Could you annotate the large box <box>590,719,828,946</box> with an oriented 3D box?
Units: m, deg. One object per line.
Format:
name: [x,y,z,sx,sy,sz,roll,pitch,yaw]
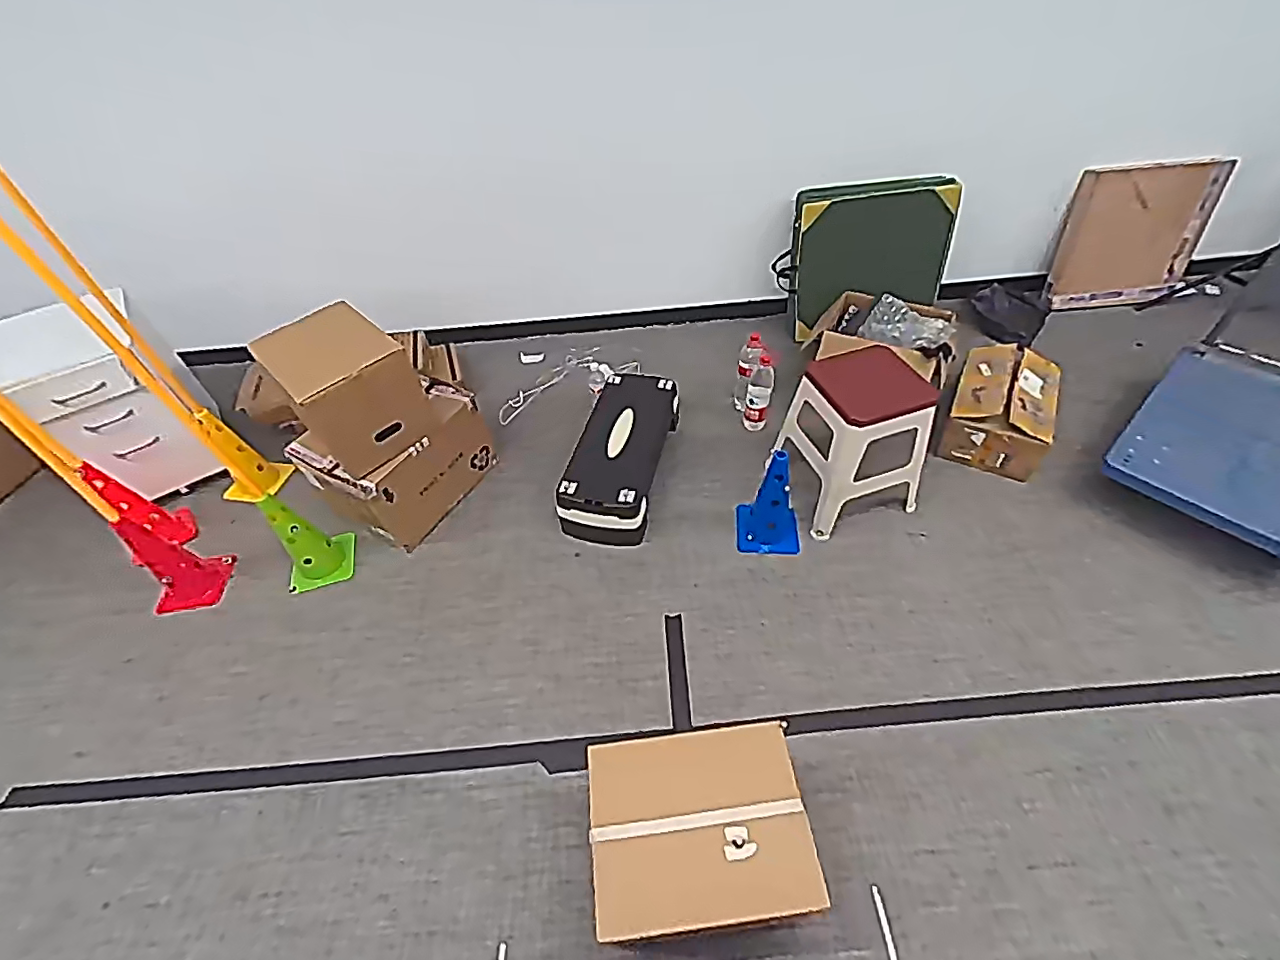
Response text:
large box: [0.117,0.736,1.130,0.408,0.320,0.320,-7,49,-3]
